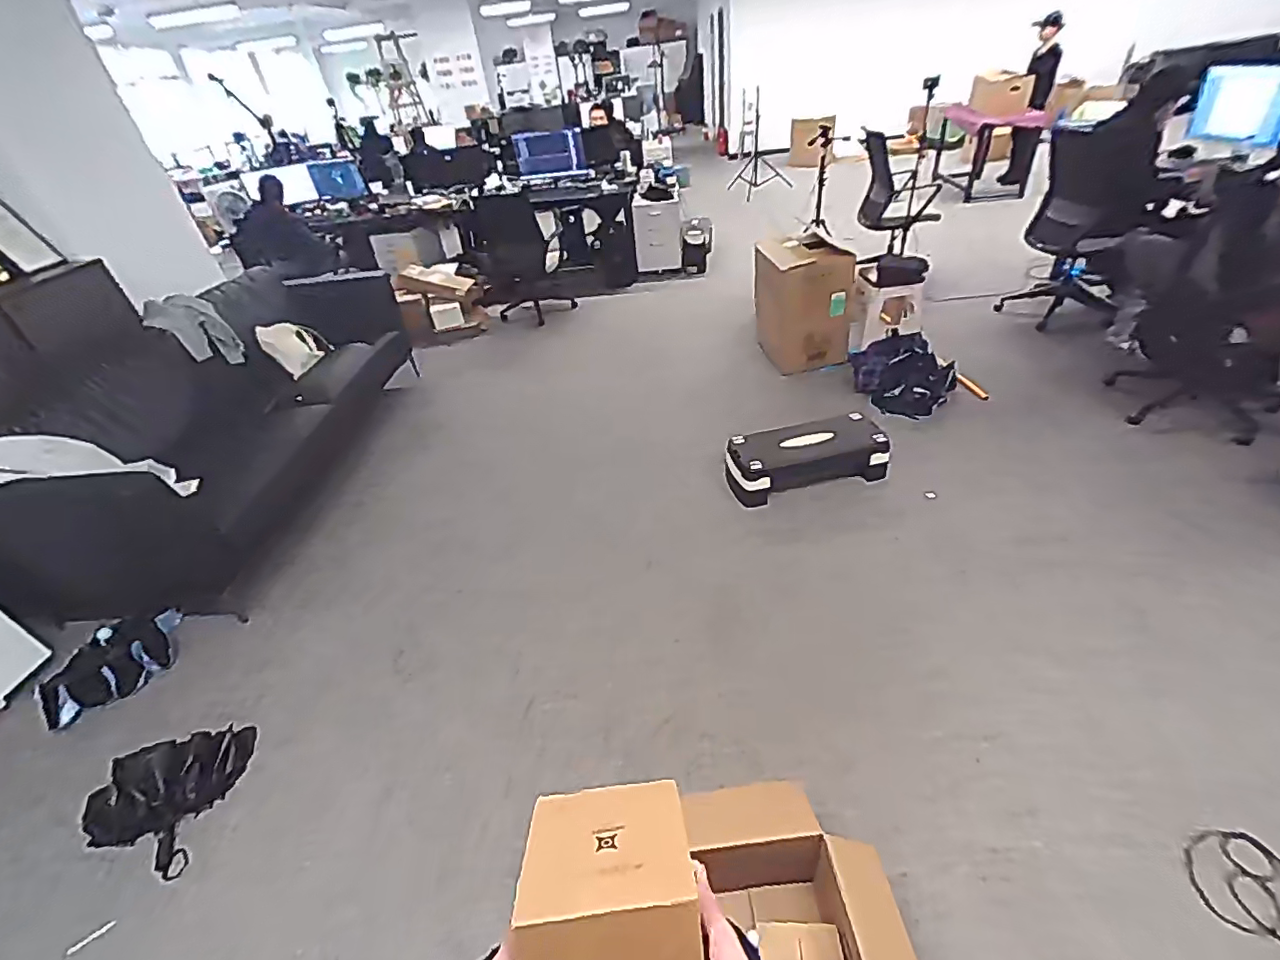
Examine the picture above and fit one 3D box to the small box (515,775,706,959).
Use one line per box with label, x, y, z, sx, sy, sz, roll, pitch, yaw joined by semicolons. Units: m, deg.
small box;-0.027;0.443;0.557;0.168;0.176;0.179;-6;5;-4
